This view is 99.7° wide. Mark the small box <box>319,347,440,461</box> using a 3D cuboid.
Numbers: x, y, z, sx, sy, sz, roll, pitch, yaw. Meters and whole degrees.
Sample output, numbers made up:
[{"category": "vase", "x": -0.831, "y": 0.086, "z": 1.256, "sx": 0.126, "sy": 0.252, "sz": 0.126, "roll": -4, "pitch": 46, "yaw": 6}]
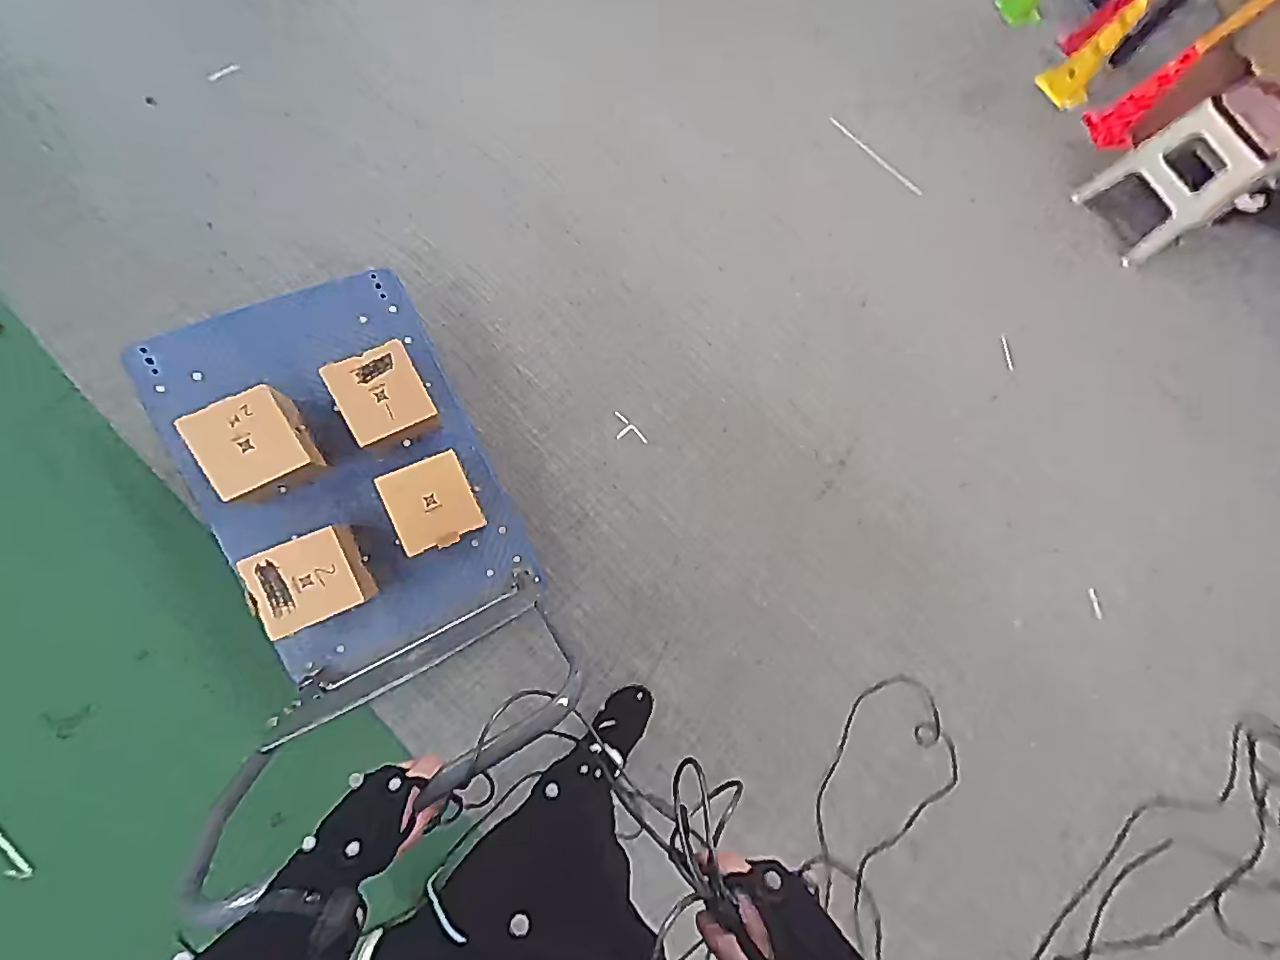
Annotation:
[{"category": "small box", "x": -0.553, "y": -0.157, "z": 1.172, "sx": 0.168, "sy": 0.176, "sz": 0.179, "roll": -28, "pitch": 94, "yaw": -16}]

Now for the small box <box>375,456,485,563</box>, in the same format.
[{"category": "small box", "x": -0.453, "y": 0.066, "z": 1.184, "sx": 0.168, "sy": 0.176, "sz": 0.179, "roll": -25, "pitch": 93, "yaw": -16}]

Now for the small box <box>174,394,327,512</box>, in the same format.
[{"category": "small box", "x": -0.773, "y": -0.048, "z": 1.100, "sx": 0.168, "sy": 0.176, "sz": 0.179, "roll": -30, "pitch": 94, "yaw": -17}]
